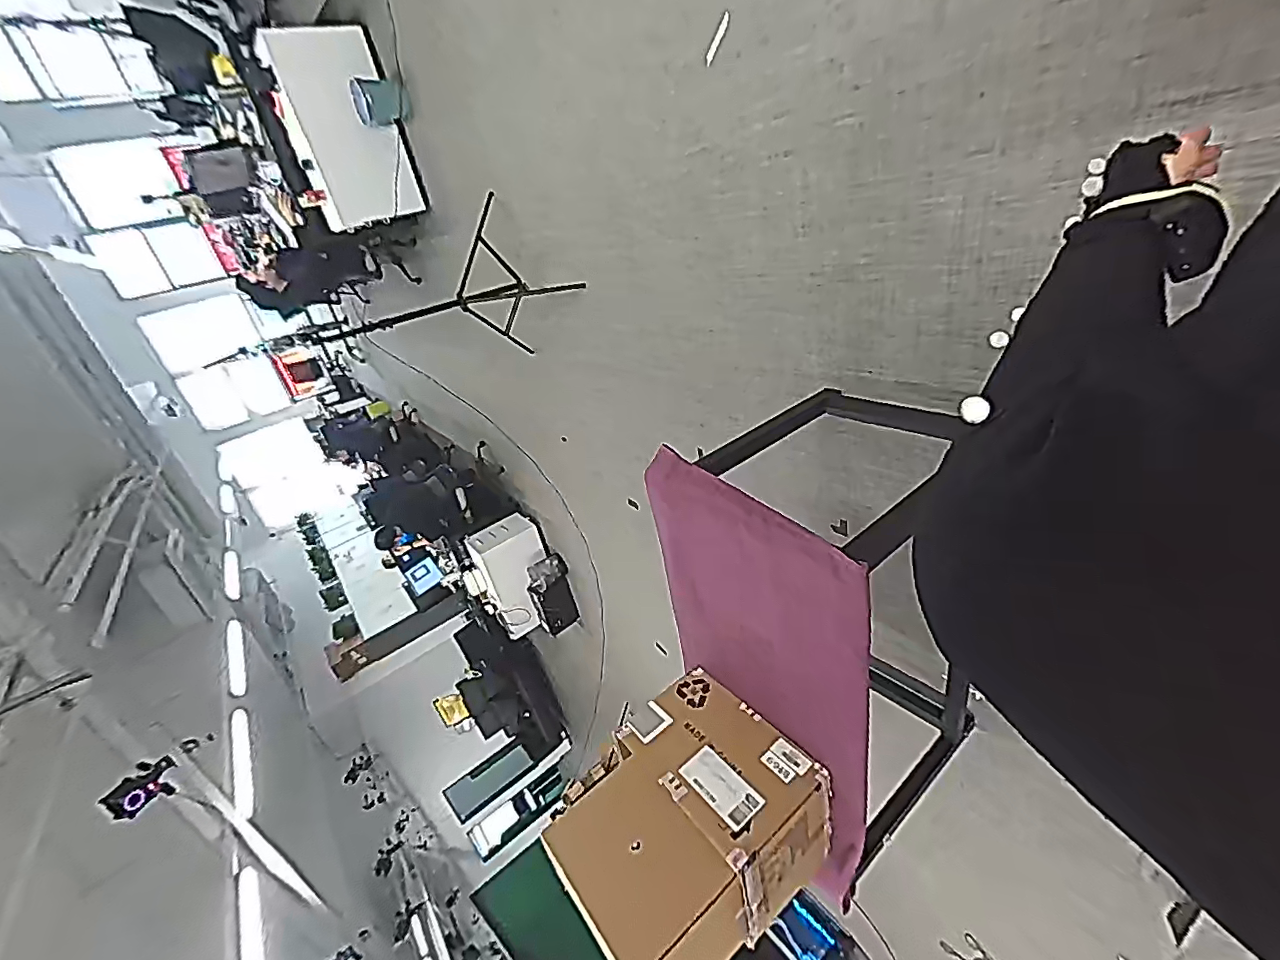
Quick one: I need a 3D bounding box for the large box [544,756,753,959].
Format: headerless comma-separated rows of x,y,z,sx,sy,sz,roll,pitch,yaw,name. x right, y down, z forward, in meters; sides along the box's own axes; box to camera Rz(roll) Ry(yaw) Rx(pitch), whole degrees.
0.019,0.999,1.349,0.408,0.320,0.320,24,136,49,large box
